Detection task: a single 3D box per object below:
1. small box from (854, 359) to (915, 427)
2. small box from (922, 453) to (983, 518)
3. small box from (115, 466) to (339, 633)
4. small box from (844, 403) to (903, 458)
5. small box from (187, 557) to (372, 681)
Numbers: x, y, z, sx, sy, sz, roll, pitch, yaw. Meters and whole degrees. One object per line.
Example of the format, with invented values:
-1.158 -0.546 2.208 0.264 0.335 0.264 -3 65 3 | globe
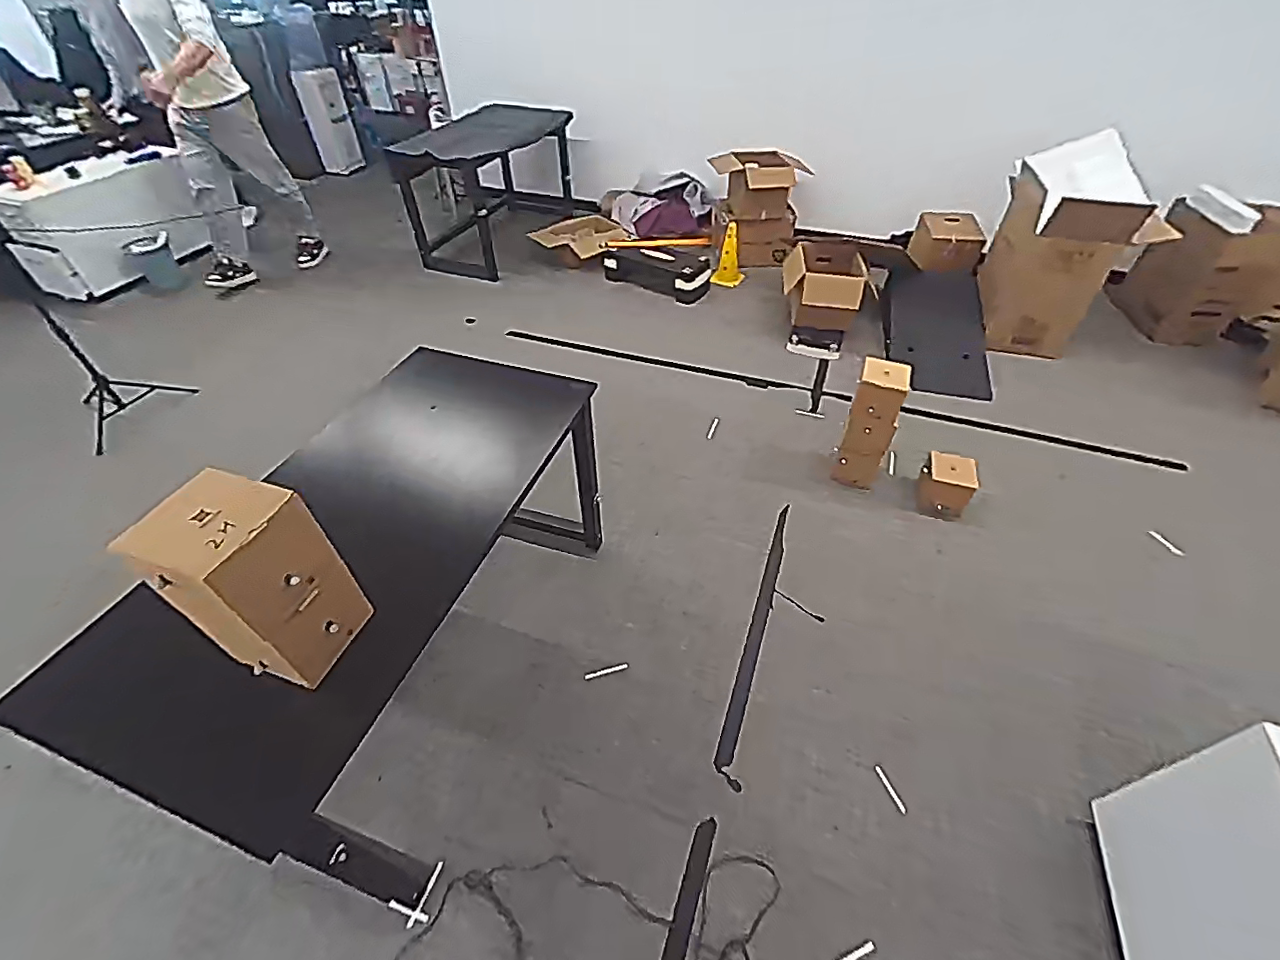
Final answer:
0.926 -0.331 2.054 0.168 0.176 0.179 17 48 15 | small box
1.247 0.022 2.172 0.168 0.176 0.179 13 48 14 | small box
-0.608 0.108 0.823 0.179 0.176 0.168 14 47 13 | small box
0.932 -0.209 2.163 0.179 0.176 0.168 16 47 13 | small box
-0.607 0.225 0.939 0.179 0.176 0.168 13 46 12 | small box
